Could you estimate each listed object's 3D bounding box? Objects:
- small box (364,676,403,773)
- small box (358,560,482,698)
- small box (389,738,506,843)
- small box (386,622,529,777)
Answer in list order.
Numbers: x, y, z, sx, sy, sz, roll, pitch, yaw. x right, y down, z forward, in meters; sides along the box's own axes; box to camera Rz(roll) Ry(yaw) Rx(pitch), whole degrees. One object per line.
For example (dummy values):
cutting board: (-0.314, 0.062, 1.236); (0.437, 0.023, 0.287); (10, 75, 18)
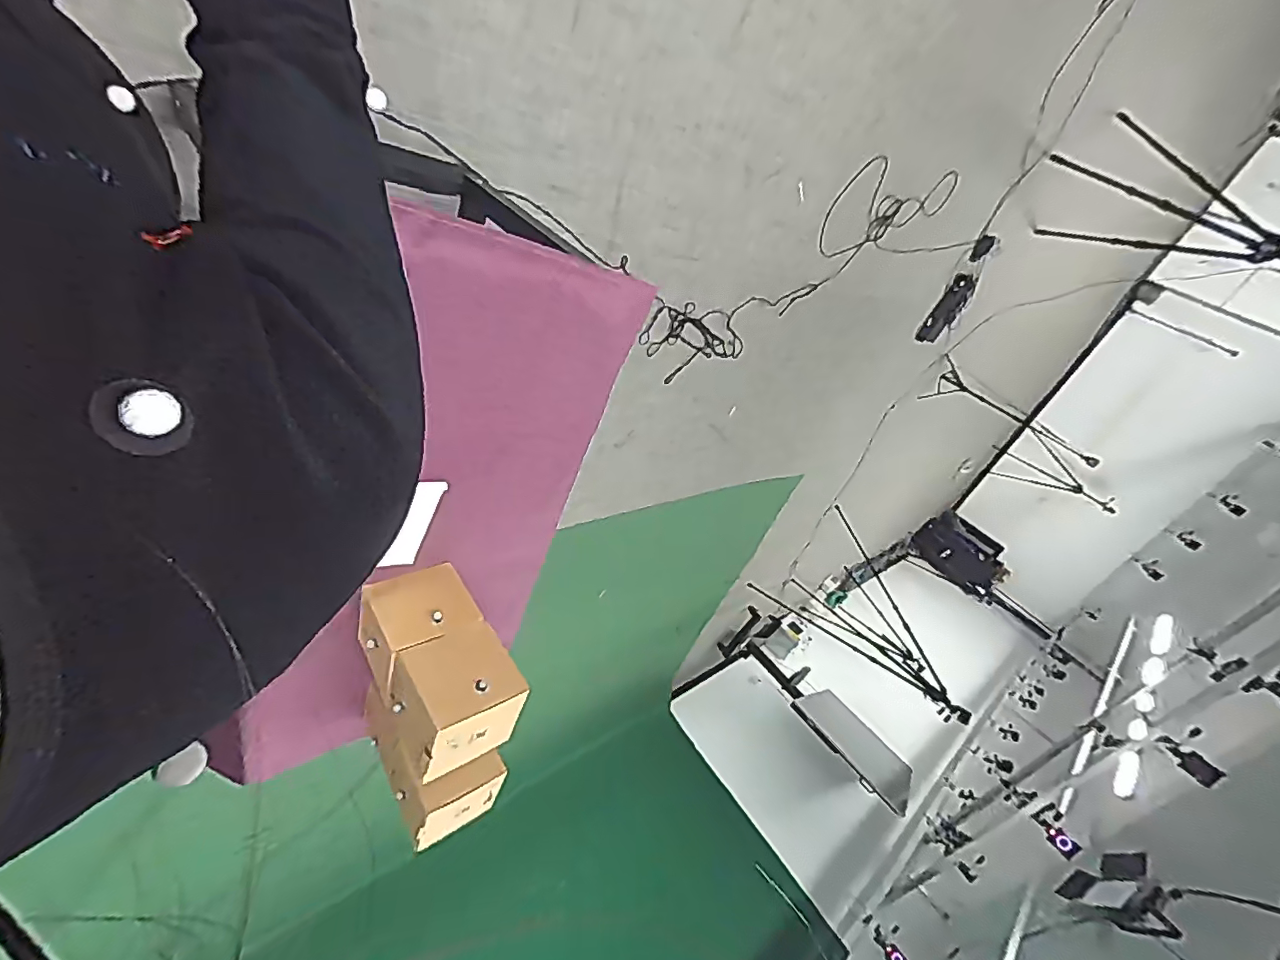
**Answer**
small box: (-0.523, 0.531, 1.260); (0.179, 0.176, 0.168); (-9, 135, -44)
small box: (-0.441, 0.287, 1.070); (0.179, 0.176, 0.168); (-13, 137, -42)
small box: (-0.424, 0.627, 1.172); (0.179, 0.176, 0.168); (-8, 135, -43)
small box: (-0.338, 0.389, 0.990); (0.179, 0.176, 0.168); (-9, 134, -44)
